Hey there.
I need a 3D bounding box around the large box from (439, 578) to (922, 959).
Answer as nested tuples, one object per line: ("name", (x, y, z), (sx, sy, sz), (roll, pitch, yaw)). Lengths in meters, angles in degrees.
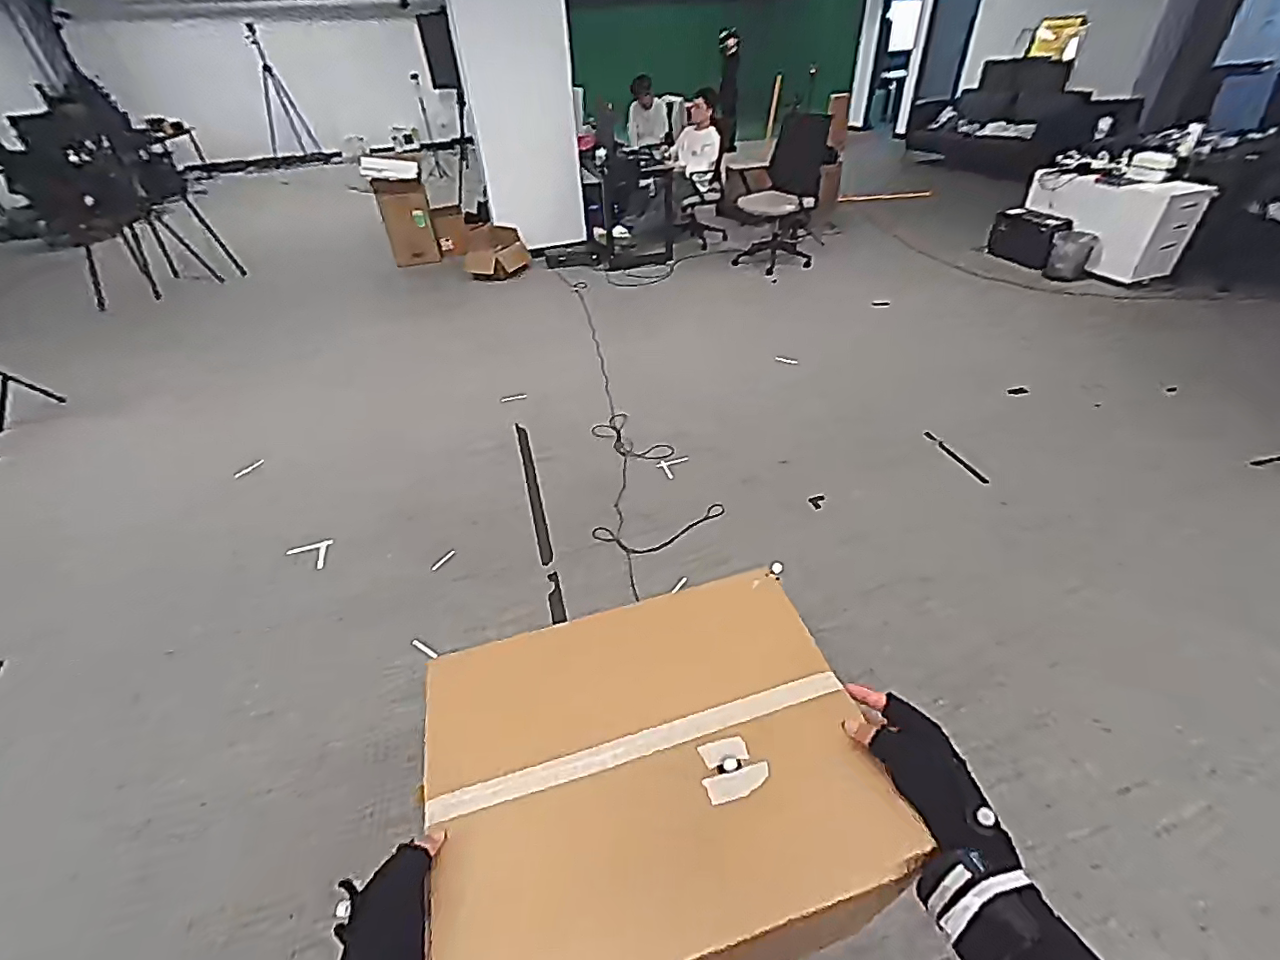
("large box", (0.016, 0.373, 0.624), (0.408, 0.320, 0.320), (-13, 43, -10))
